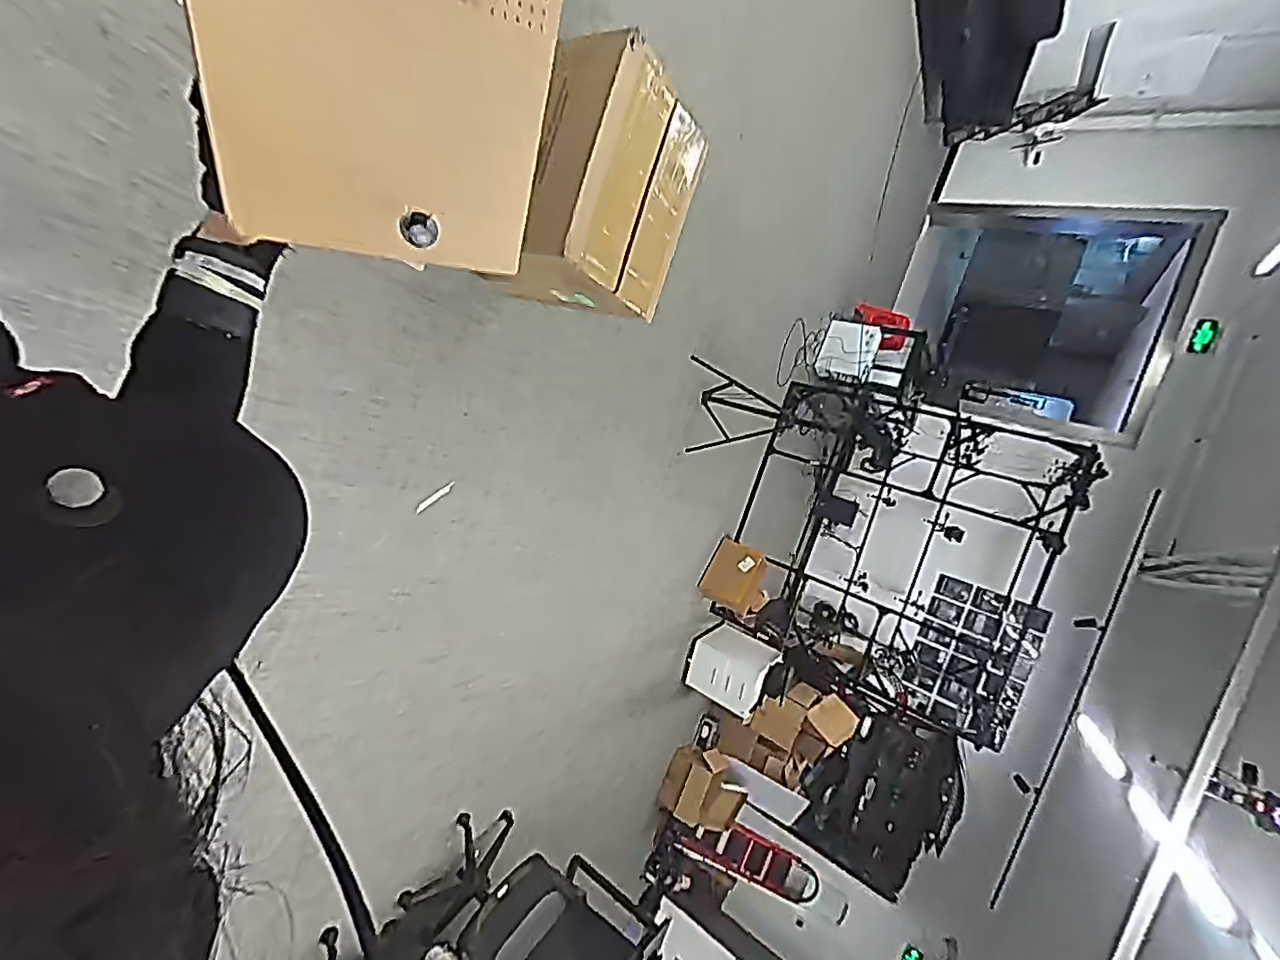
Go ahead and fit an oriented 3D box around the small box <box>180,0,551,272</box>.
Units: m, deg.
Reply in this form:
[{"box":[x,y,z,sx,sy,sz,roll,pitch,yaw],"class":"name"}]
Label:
[{"box":[-0.160,-0.262,0.333,0.168,0.179,0.176,0,138,-26],"class":"small box"}]
